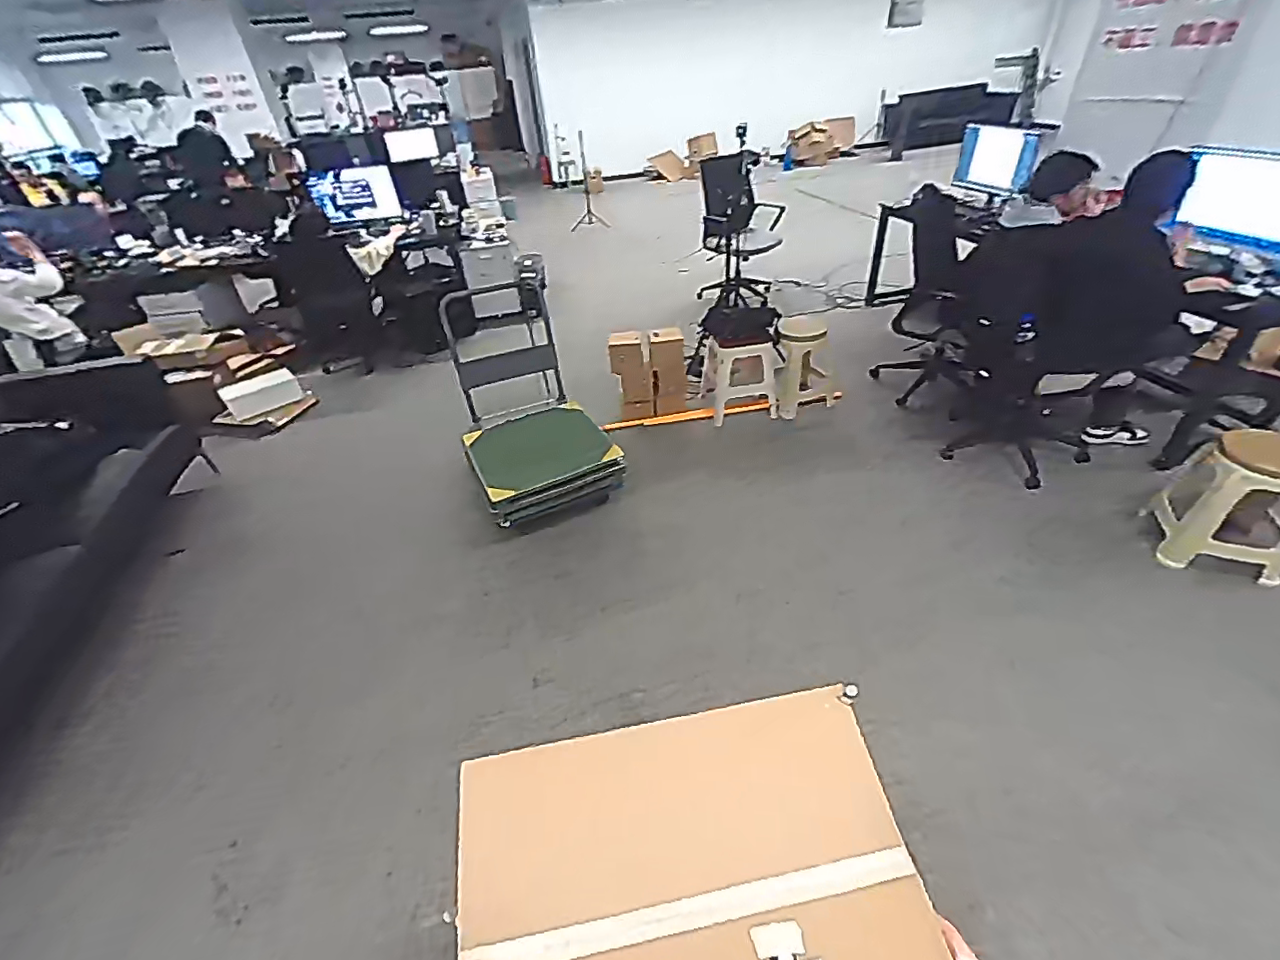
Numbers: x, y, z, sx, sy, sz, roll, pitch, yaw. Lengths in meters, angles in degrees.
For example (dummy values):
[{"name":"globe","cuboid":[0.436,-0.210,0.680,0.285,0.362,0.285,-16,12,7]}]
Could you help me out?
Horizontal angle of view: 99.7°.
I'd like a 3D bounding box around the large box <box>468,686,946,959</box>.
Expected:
[{"name":"large box","cuboid":[0.053,0.468,0.601,0.408,0.320,0.320,-10,56,-5]}]
